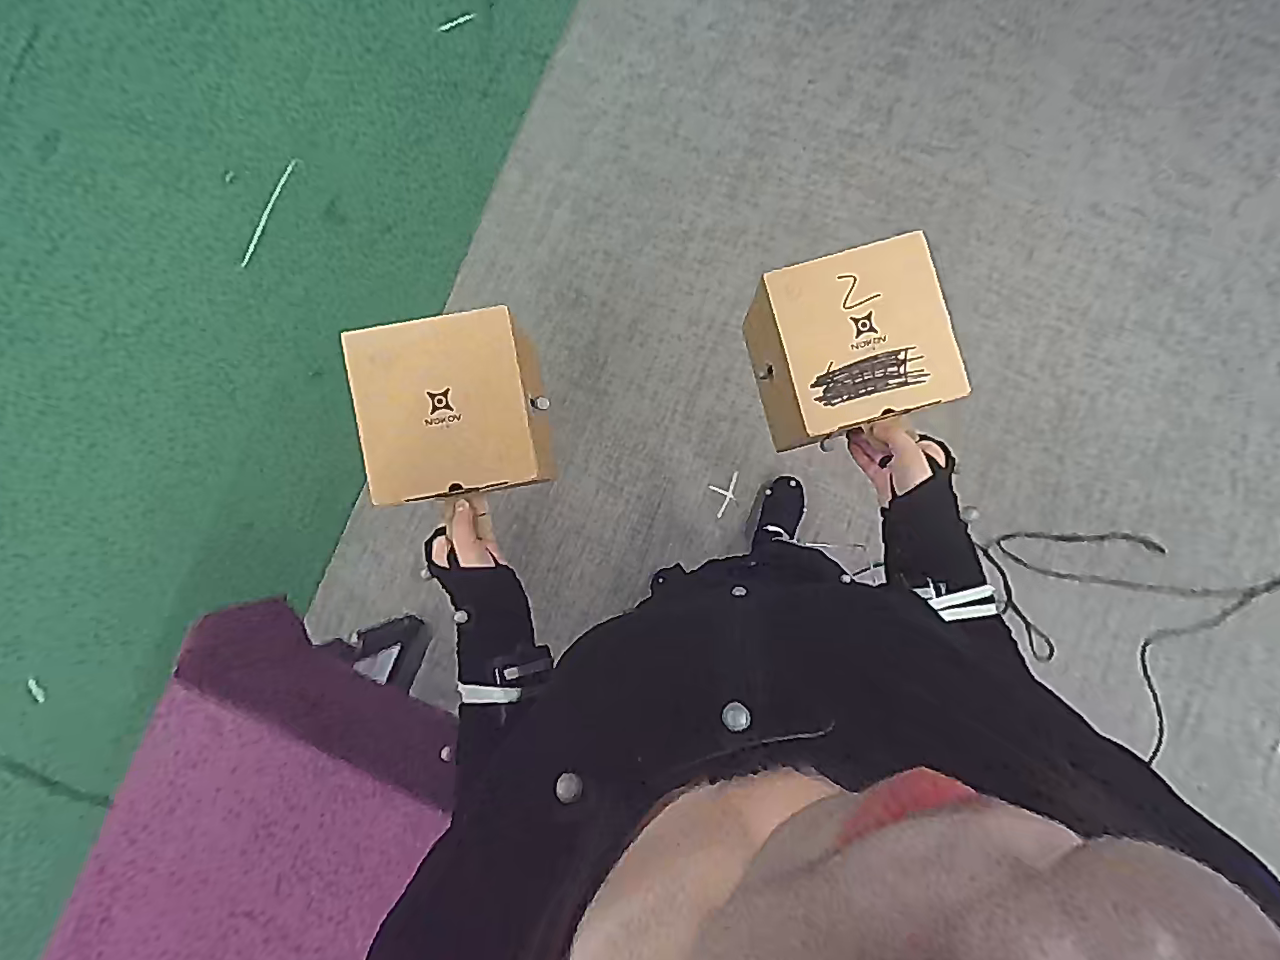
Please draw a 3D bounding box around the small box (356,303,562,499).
[{"bbox_3d":[-0.186,-0.078,0.605,0.168,0.176,0.179,-8,92,-2],"label":"small box"}]
